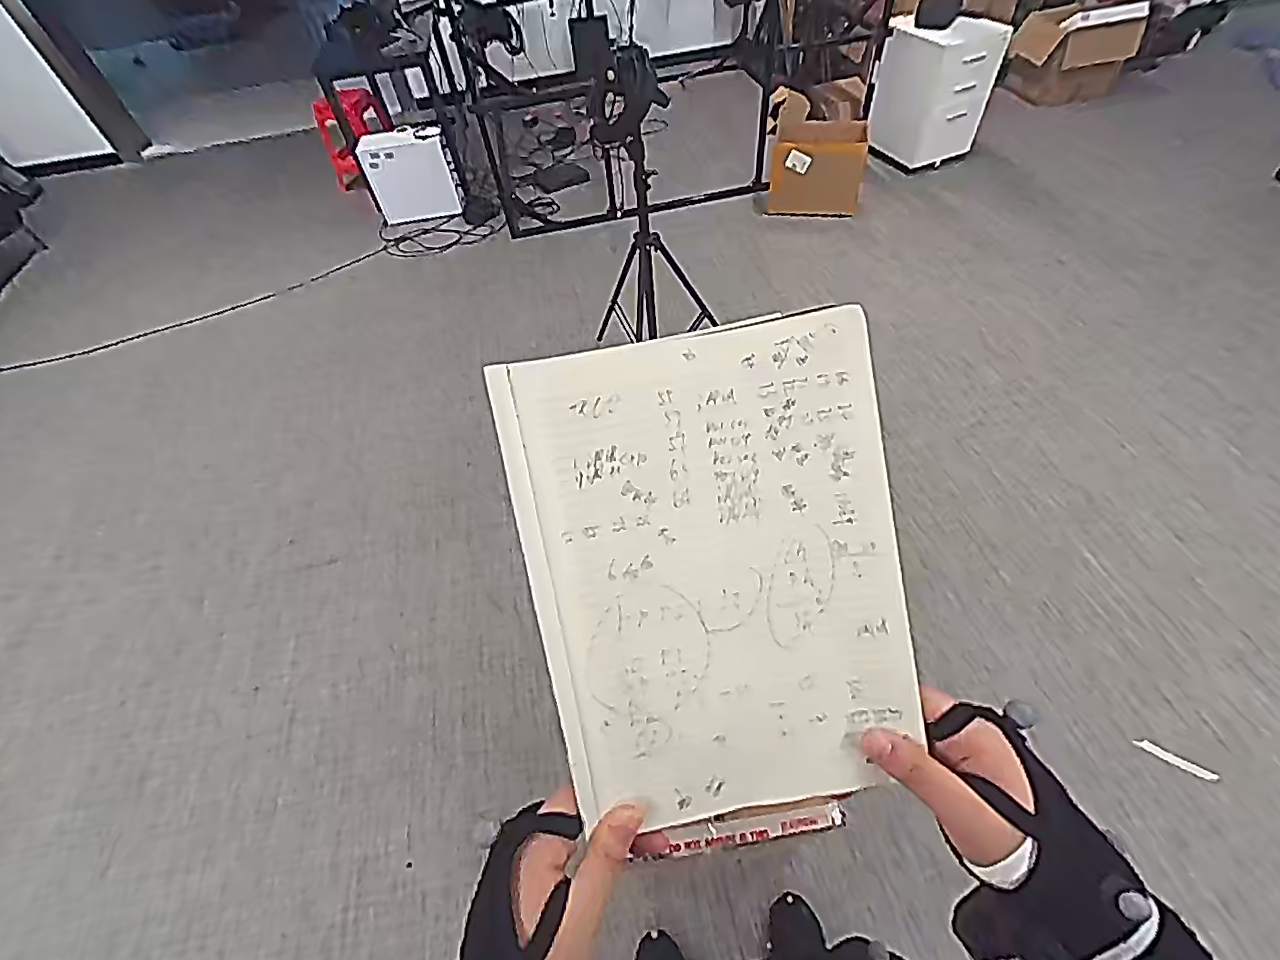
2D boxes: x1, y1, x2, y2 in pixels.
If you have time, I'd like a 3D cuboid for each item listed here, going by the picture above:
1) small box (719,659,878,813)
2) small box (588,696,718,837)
[{"bbox_3d":[0.232,0.403,0.845,0.179,0.176,0.168,-12,53,-5],"label":"small box"},{"bbox_3d":[0.020,0.445,0.834,0.179,0.176,0.168,-7,54,3],"label":"small box"}]
